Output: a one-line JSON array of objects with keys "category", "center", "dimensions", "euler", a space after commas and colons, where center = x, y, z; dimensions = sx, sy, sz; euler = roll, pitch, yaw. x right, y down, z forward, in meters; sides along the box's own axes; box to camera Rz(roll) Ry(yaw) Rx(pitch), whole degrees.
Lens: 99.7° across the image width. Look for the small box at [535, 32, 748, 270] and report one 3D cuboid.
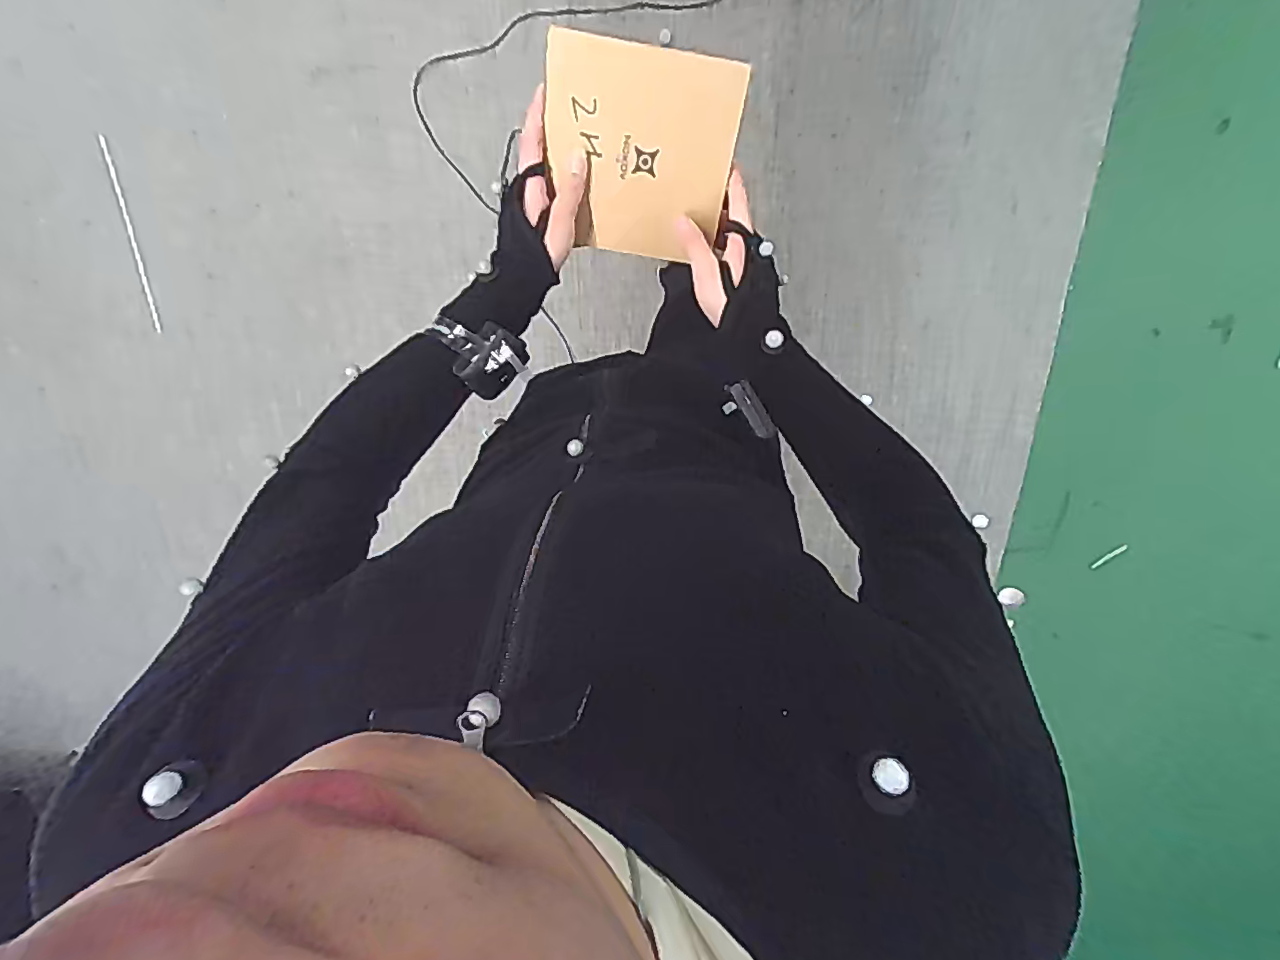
[{"category": "small box", "center": [-0.002, -0.335, 0.556], "dimensions": [0.179, 0.176, 0.168], "euler": [9, 125, -2]}]
